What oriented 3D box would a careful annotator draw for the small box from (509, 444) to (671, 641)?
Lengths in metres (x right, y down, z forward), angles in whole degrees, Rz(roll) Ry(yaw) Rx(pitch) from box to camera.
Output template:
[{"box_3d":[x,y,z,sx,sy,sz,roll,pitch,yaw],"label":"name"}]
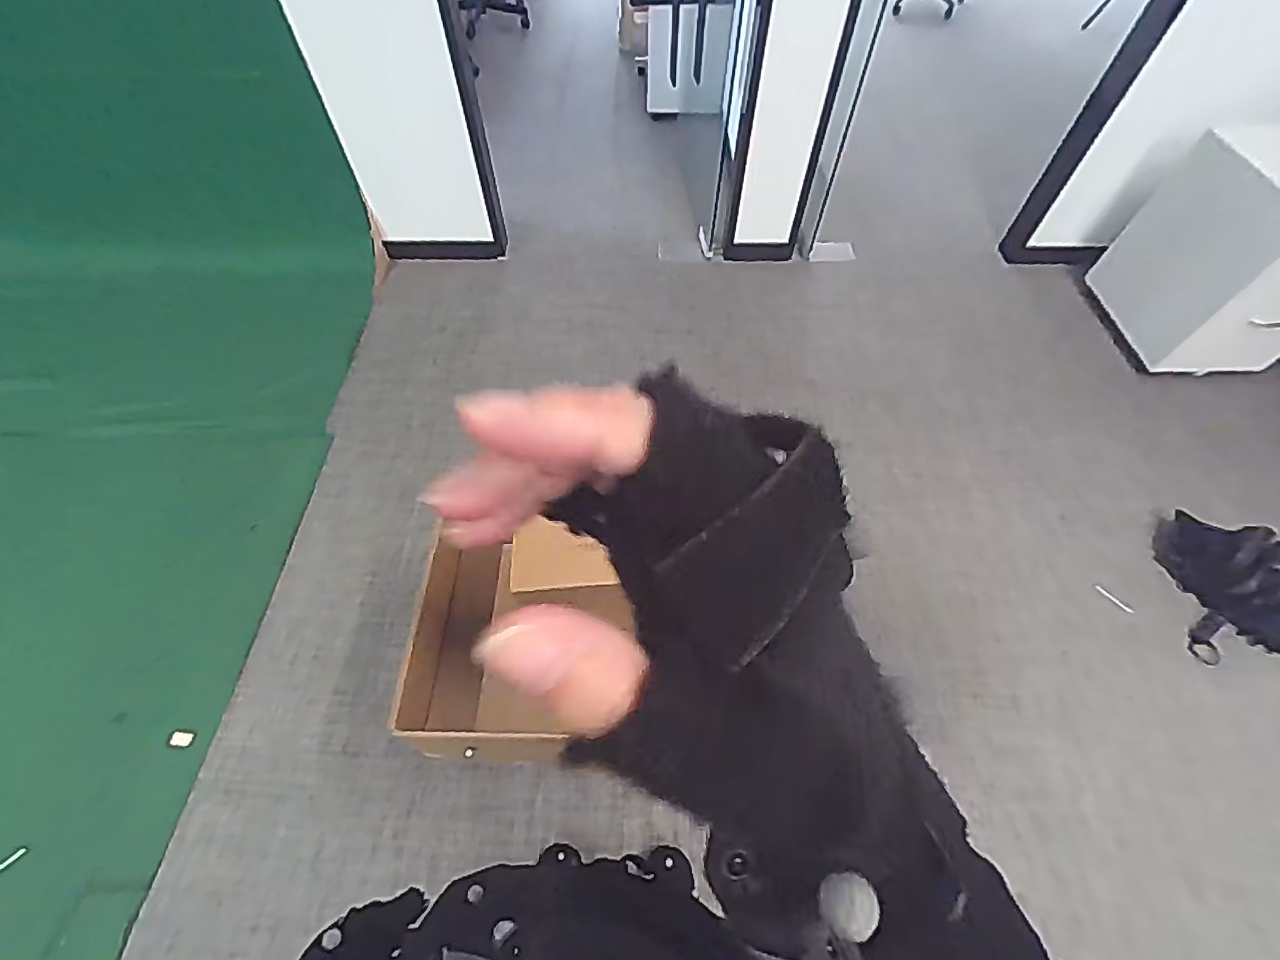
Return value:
[{"box_3d":[-0.055,0.079,0.655,0.168,0.176,0.179,-5,57,-1],"label":"small box"}]
